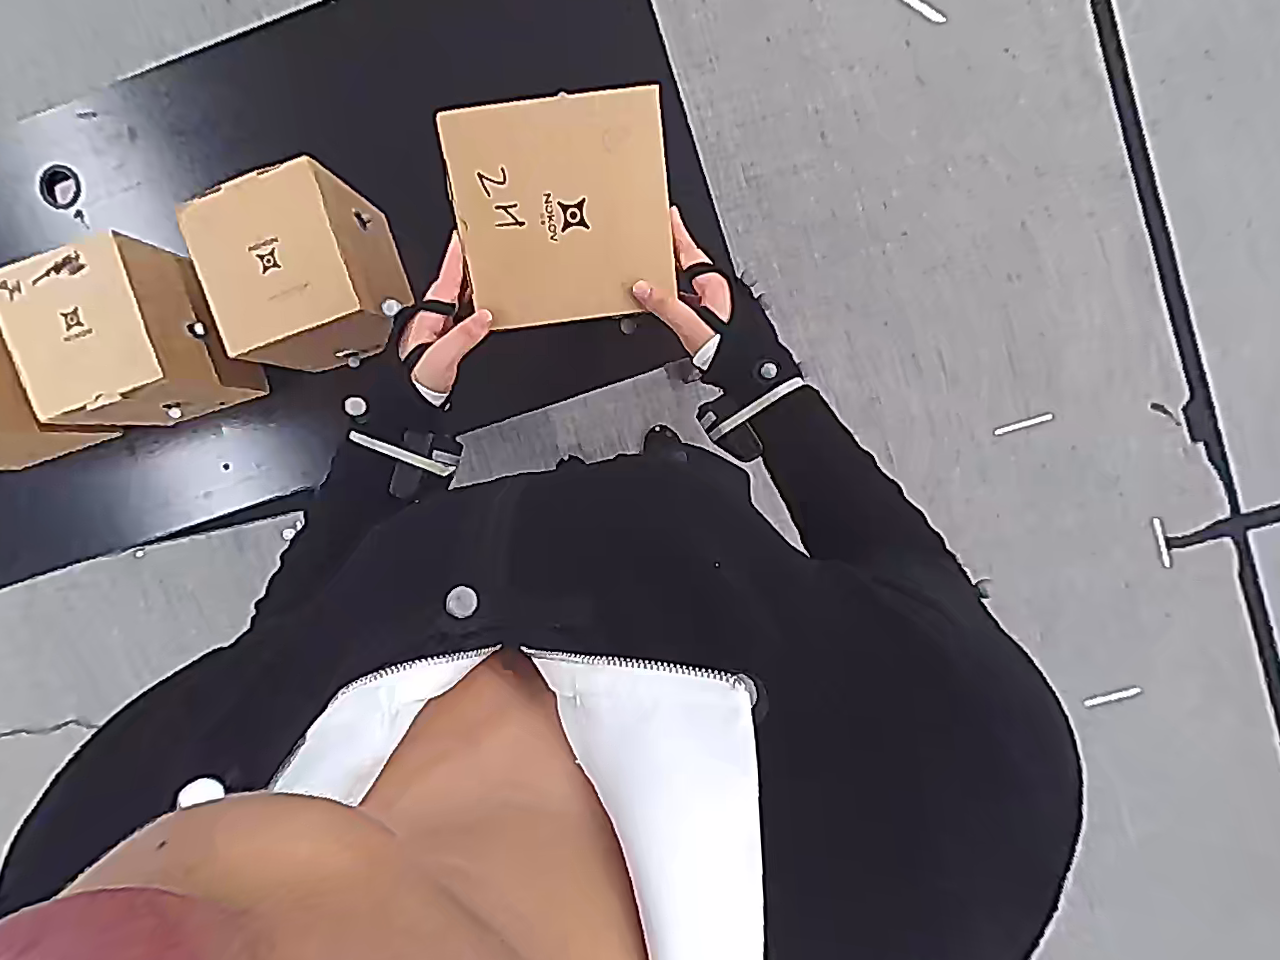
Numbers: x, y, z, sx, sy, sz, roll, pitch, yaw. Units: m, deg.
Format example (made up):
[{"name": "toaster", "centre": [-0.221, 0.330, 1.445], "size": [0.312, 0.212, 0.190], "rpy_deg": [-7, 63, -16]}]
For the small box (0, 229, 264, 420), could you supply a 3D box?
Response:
[{"name": "small box", "centre": [-0.630, -0.182, 0.688], "size": [0.168, 0.176, 0.179], "rpy_deg": [-17, 95, 2]}]

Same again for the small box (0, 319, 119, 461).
[{"name": "small box", "centre": [-0.854, -0.121, 0.700], "size": [0.179, 0.176, 0.168], "rpy_deg": [-17, 95, 2]}]

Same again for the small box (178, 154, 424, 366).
[{"name": "small box", "centre": [-0.404, -0.257, 0.676], "size": [0.168, 0.176, 0.179], "rpy_deg": [-18, 95, 4]}]
